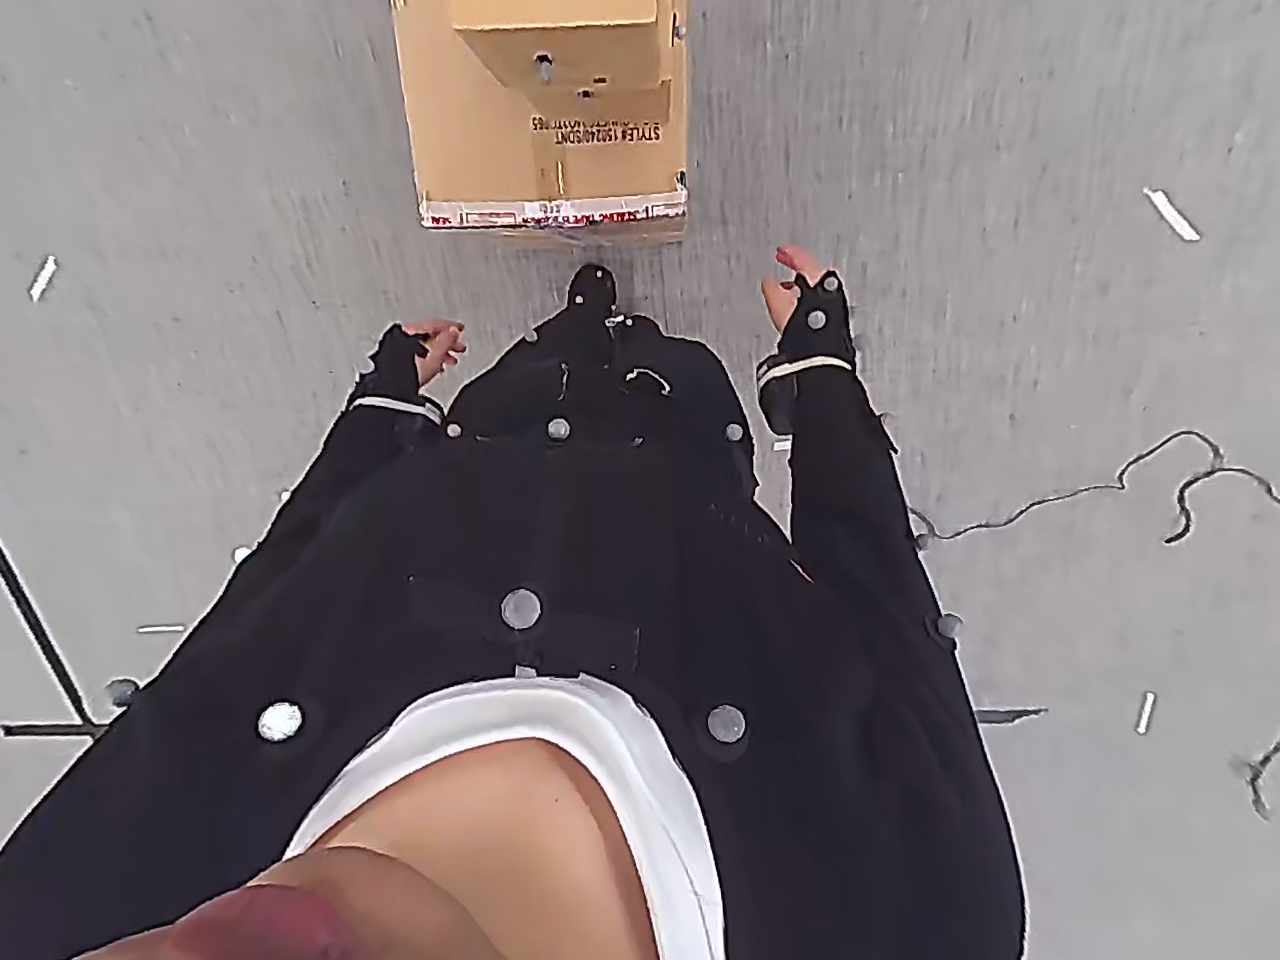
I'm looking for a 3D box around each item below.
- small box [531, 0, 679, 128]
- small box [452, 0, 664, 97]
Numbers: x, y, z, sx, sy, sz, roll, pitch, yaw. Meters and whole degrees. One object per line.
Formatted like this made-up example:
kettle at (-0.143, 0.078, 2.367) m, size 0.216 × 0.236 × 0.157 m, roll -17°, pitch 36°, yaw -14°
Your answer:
small box at (-0.045, -0.524, 0.626) m, size 0.179 × 0.176 × 0.168 m, roll 2°, pitch 111°, yaw 2°
small box at (-0.063, -0.461, 0.477) m, size 0.168 × 0.176 × 0.179 m, roll 0°, pitch 110°, yaw 3°
